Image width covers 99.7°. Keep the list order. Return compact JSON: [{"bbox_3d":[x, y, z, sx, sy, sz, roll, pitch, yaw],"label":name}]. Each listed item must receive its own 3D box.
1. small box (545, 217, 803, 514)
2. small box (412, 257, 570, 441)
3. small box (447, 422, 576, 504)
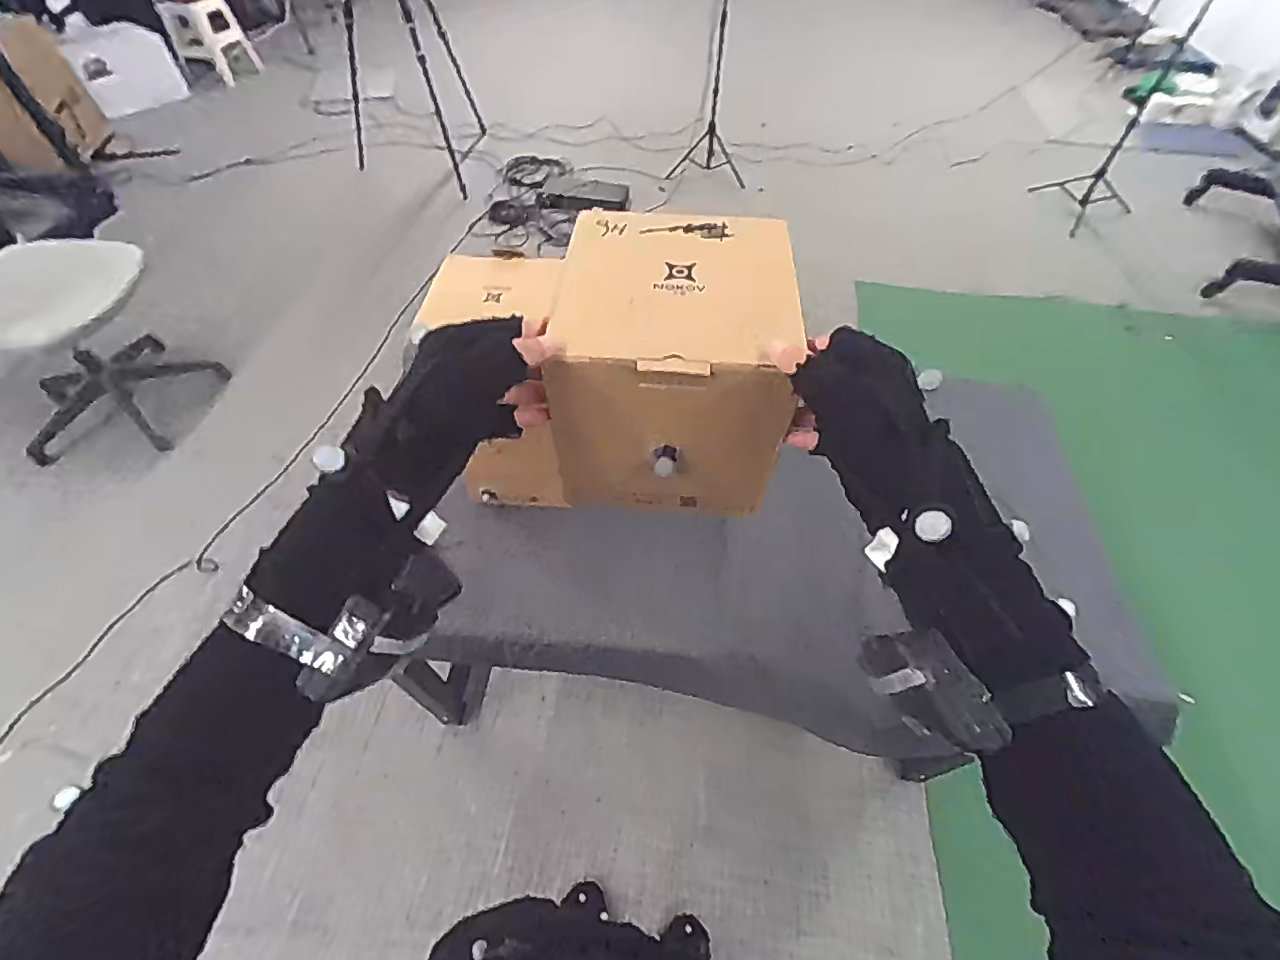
[{"bbox_3d":[0.028,-0.088,0.447,0.168,0.176,0.179,5,55,2],"label":"small box"},{"bbox_3d":[-0.179,-0.174,0.730,0.168,0.176,0.179,2,54,1],"label":"small box"},{"bbox_3d":[-0.184,-0.077,0.860,0.168,0.176,0.179,3,52,1],"label":"small box"}]
